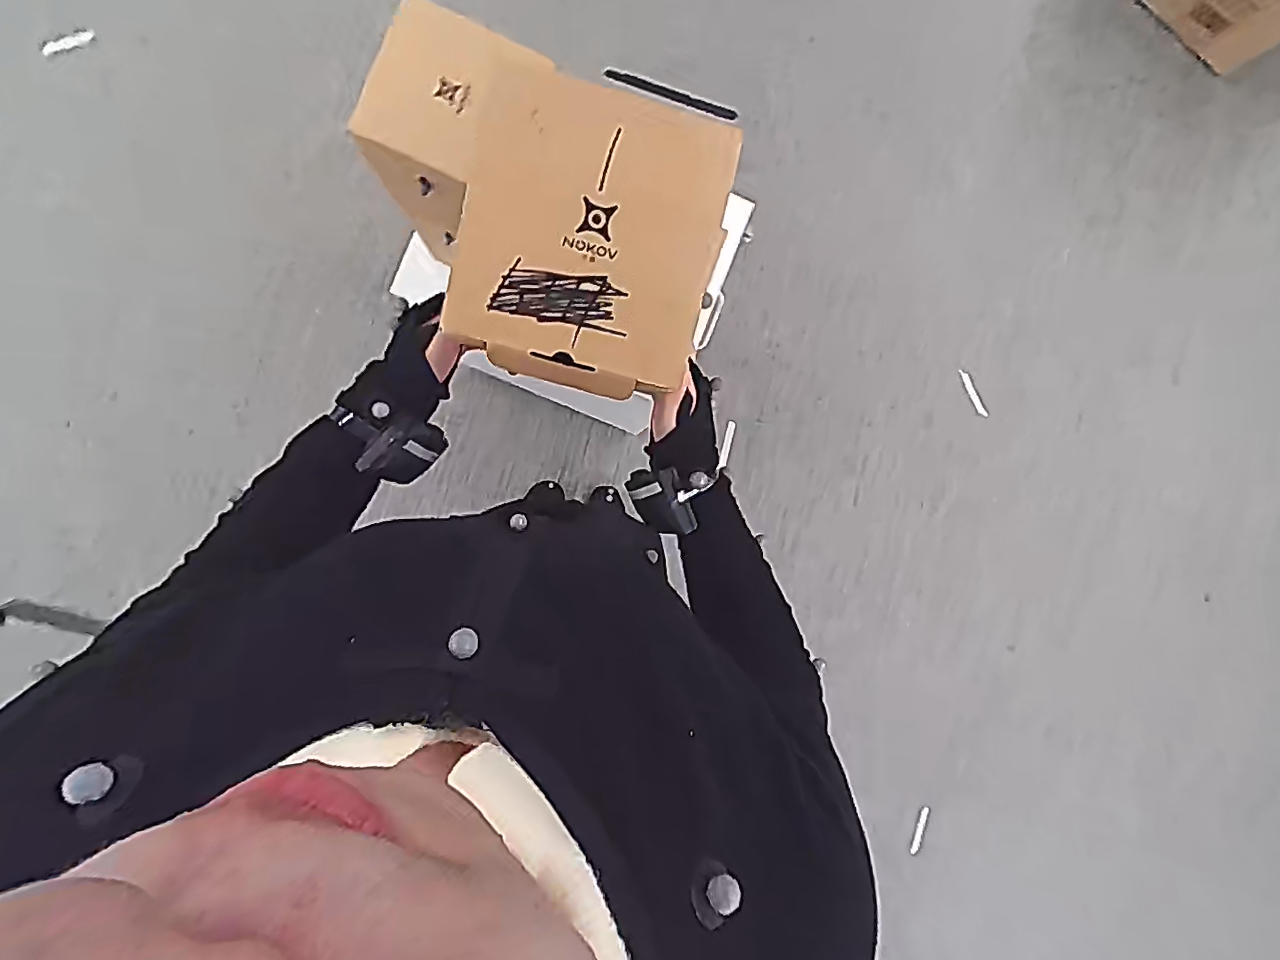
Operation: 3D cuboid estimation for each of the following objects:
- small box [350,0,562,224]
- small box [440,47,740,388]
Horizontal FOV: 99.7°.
[{"bbox_3d":[-0.203,-0.414,0.654,0.179,0.176,0.168,22,89,-7],"label":"small box"},{"bbox_3d":[-0.039,-0.177,0.430,0.168,0.176,0.179,13,97,-7],"label":"small box"}]
